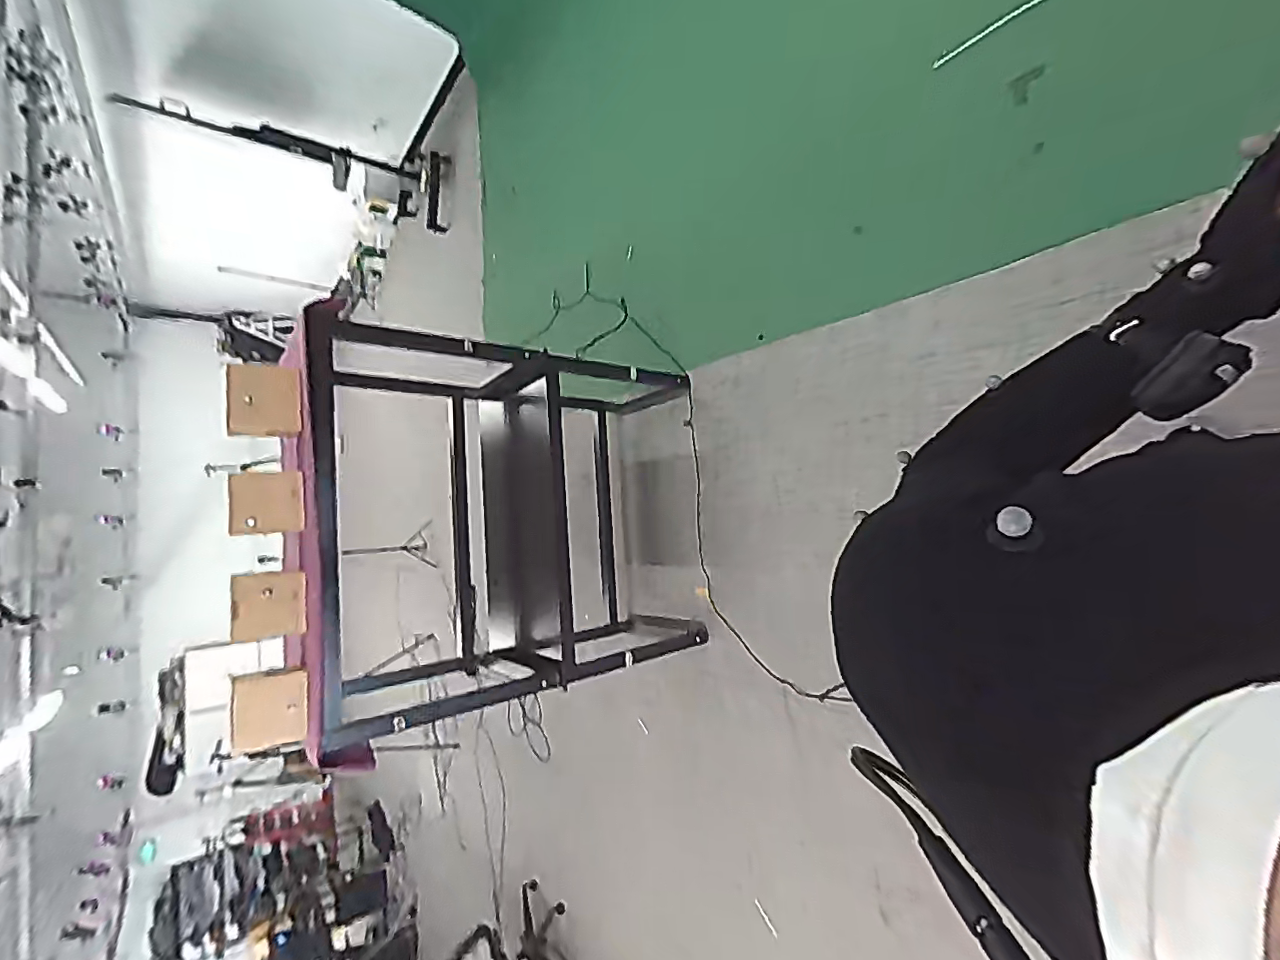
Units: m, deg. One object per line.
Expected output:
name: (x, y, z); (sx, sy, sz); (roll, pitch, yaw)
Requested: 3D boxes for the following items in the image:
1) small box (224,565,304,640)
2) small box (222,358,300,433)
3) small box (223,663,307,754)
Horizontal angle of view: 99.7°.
small box: (-1.016, 0.324, 1.462); (0.179, 0.176, 0.168); (-6, 85, 52)
small box: (-1.051, -0.226, 1.500); (0.168, 0.176, 0.179); (-8, 84, 51)
small box: (-0.997, 0.596, 1.438); (0.168, 0.176, 0.179); (-12, 80, 51)
